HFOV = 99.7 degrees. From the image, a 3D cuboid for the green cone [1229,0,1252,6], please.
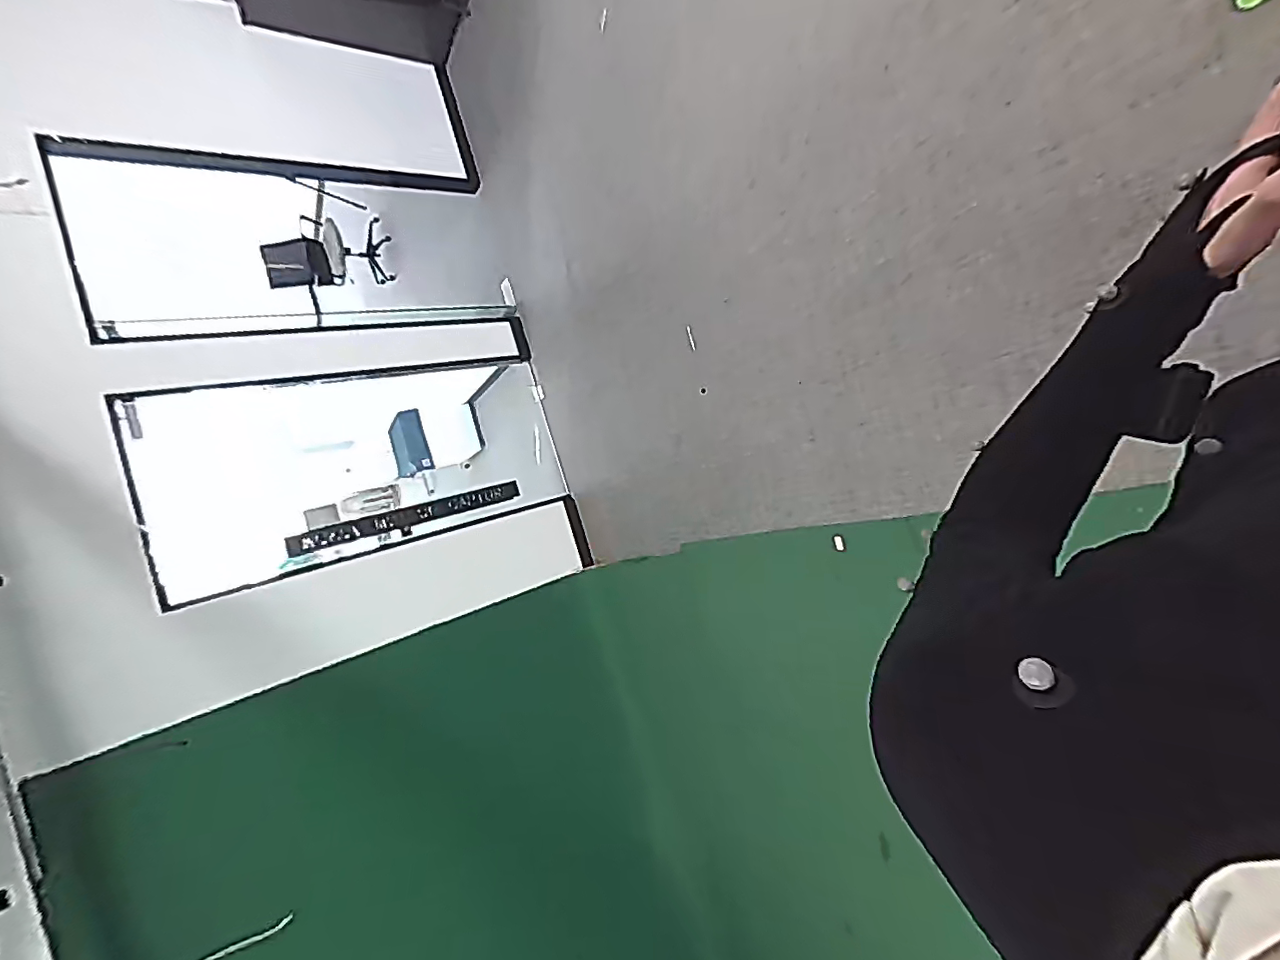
[{"bbox_3d":[0.978,-0.923,0.804,0.202,0.368,0.200,-16,90,53],"label":"green cone"}]
